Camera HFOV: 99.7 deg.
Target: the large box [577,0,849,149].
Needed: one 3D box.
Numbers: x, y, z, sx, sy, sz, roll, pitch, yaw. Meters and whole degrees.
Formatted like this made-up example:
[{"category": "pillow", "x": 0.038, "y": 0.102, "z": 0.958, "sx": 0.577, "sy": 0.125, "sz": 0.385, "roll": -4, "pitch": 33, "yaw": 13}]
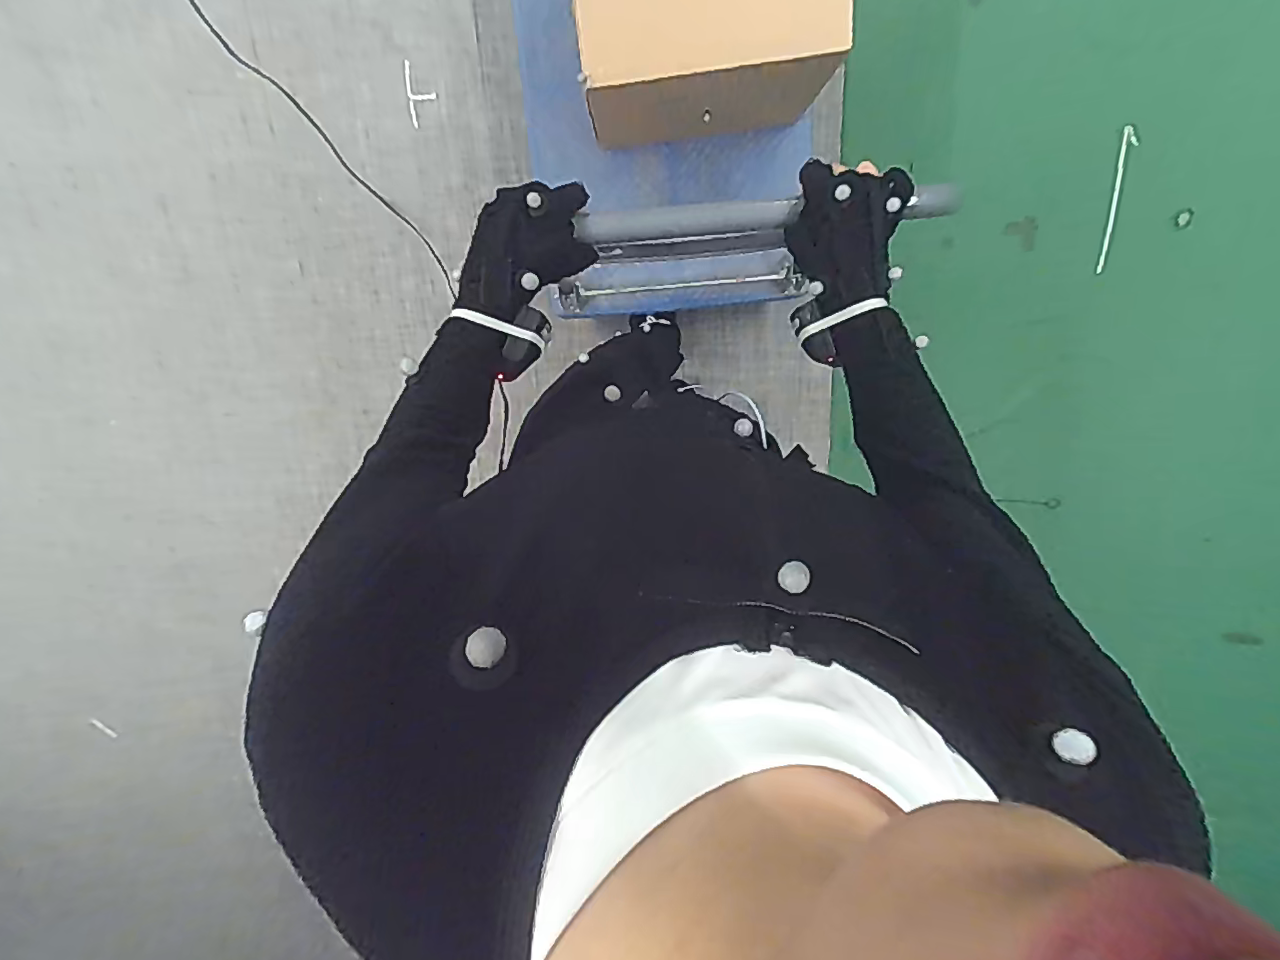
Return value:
[{"category": "large box", "x": 0.105, "y": -0.812, "z": 0.931, "sx": 0.408, "sy": 0.320, "sz": 0.320, "roll": -7, "pitch": 106, "yaw": 4}]
